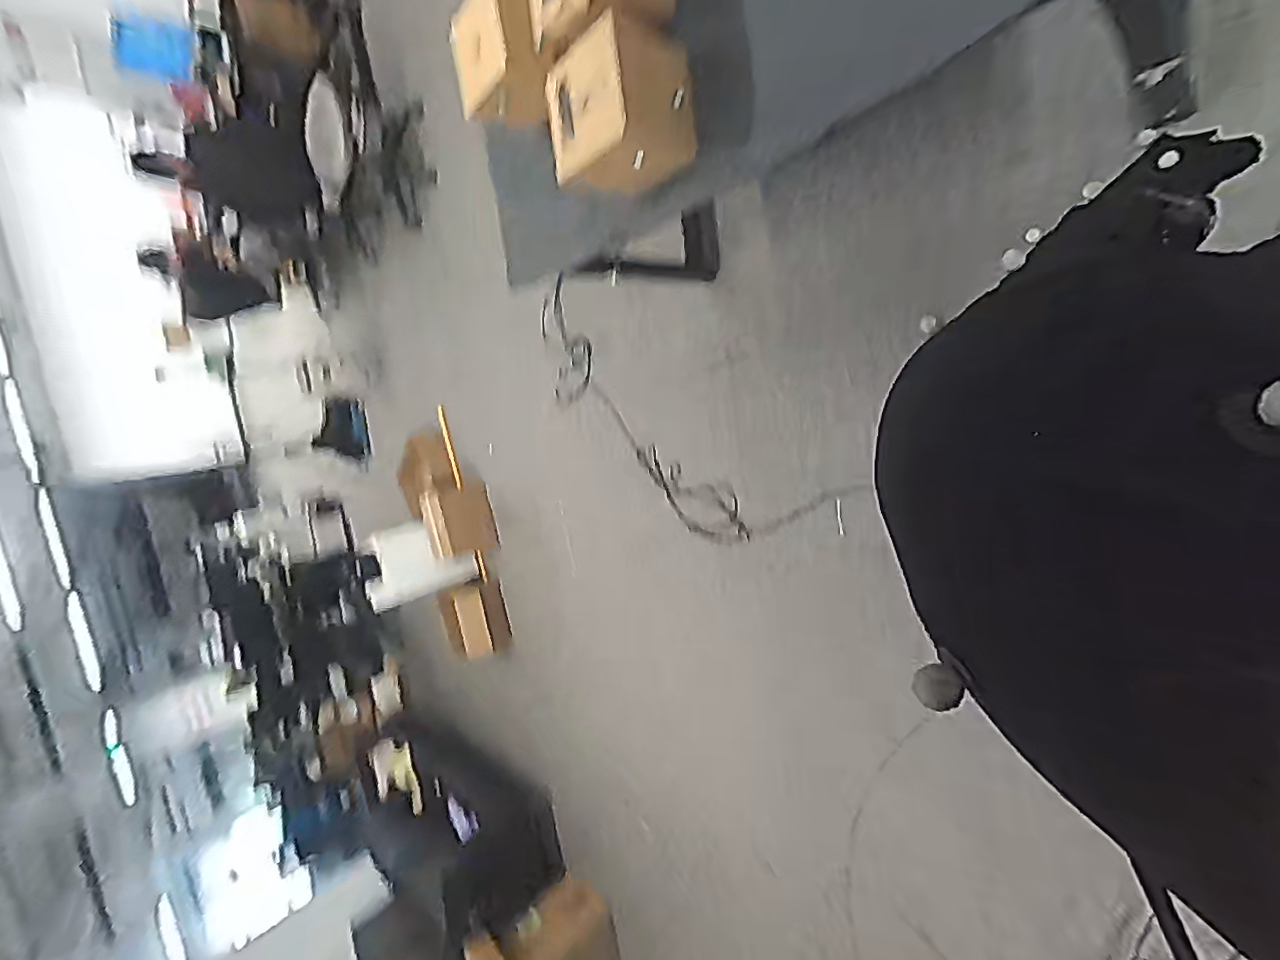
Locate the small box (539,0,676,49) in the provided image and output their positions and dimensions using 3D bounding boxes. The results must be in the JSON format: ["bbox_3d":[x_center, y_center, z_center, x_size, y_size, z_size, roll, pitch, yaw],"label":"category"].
[{"bbox_3d":[-0.054,-0.844,0.875,0.168,0.176,0.179,6,105,47],"label":"small box"}]
